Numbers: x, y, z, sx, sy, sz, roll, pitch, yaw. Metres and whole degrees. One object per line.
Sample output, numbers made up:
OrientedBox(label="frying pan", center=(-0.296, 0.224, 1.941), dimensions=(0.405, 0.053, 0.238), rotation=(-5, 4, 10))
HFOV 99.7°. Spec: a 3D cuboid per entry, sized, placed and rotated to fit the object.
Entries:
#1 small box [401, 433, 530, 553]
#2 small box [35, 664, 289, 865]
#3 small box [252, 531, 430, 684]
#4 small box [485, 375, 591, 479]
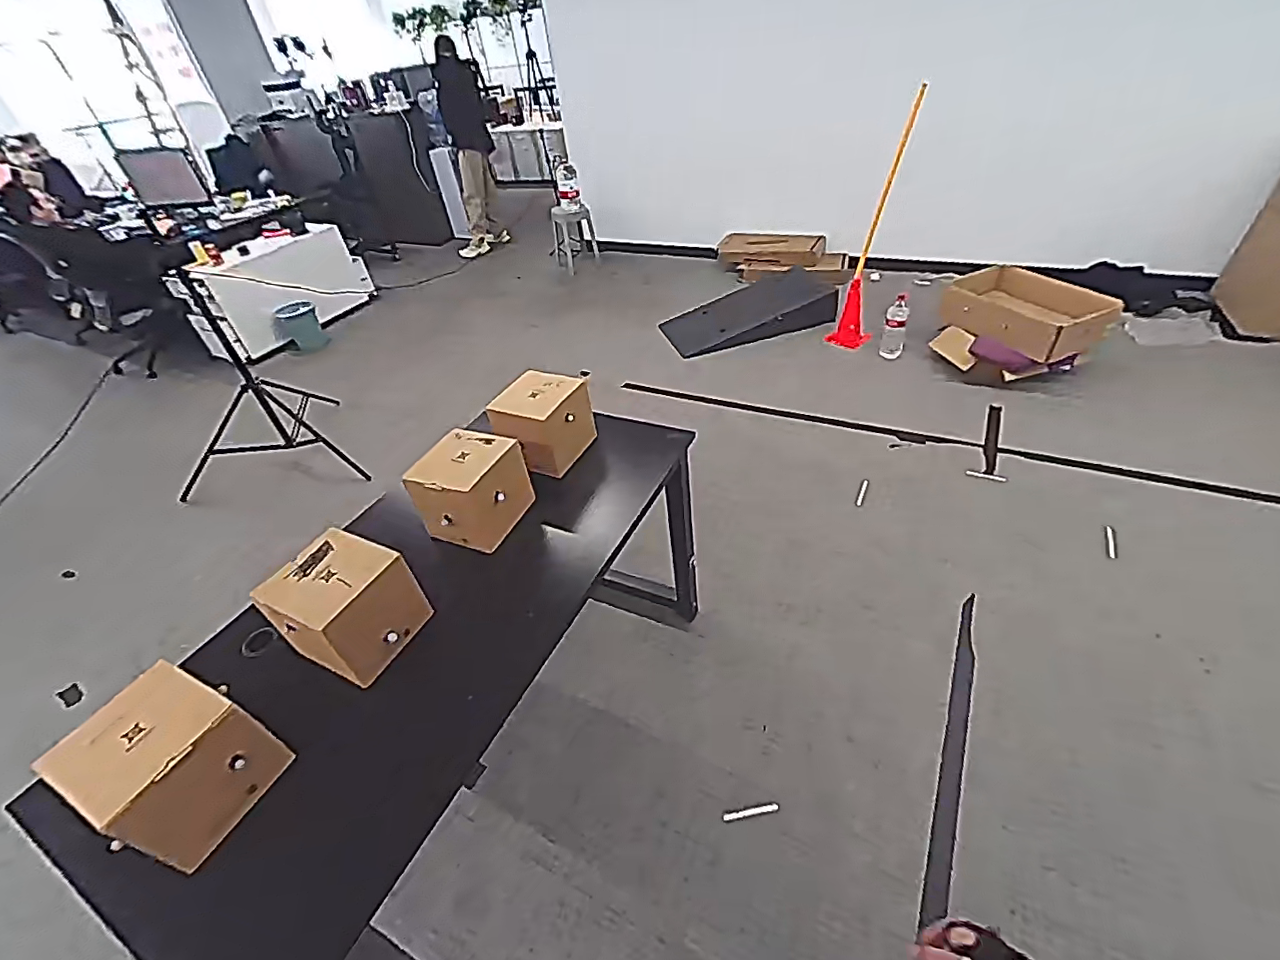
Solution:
OrientedBox(label="small box", center=(-0.353, 0.027, 1.135), dimensions=(0.168, 0.176, 0.179), rotation=(11, 44, 21))
OrientedBox(label="small box", center=(-0.641, 0.394, 0.749), dimensions=(0.179, 0.176, 0.168), rotation=(12, 43, 23))
OrientedBox(label="small box", center=(-0.503, 0.220, 0.931), dimensions=(0.179, 0.176, 0.168), rotation=(14, 45, 23))
OrientedBox(label="small box", center=(-0.232, -0.126, 1.294), dimensions=(0.168, 0.176, 0.179), rotation=(14, 45, 24))
